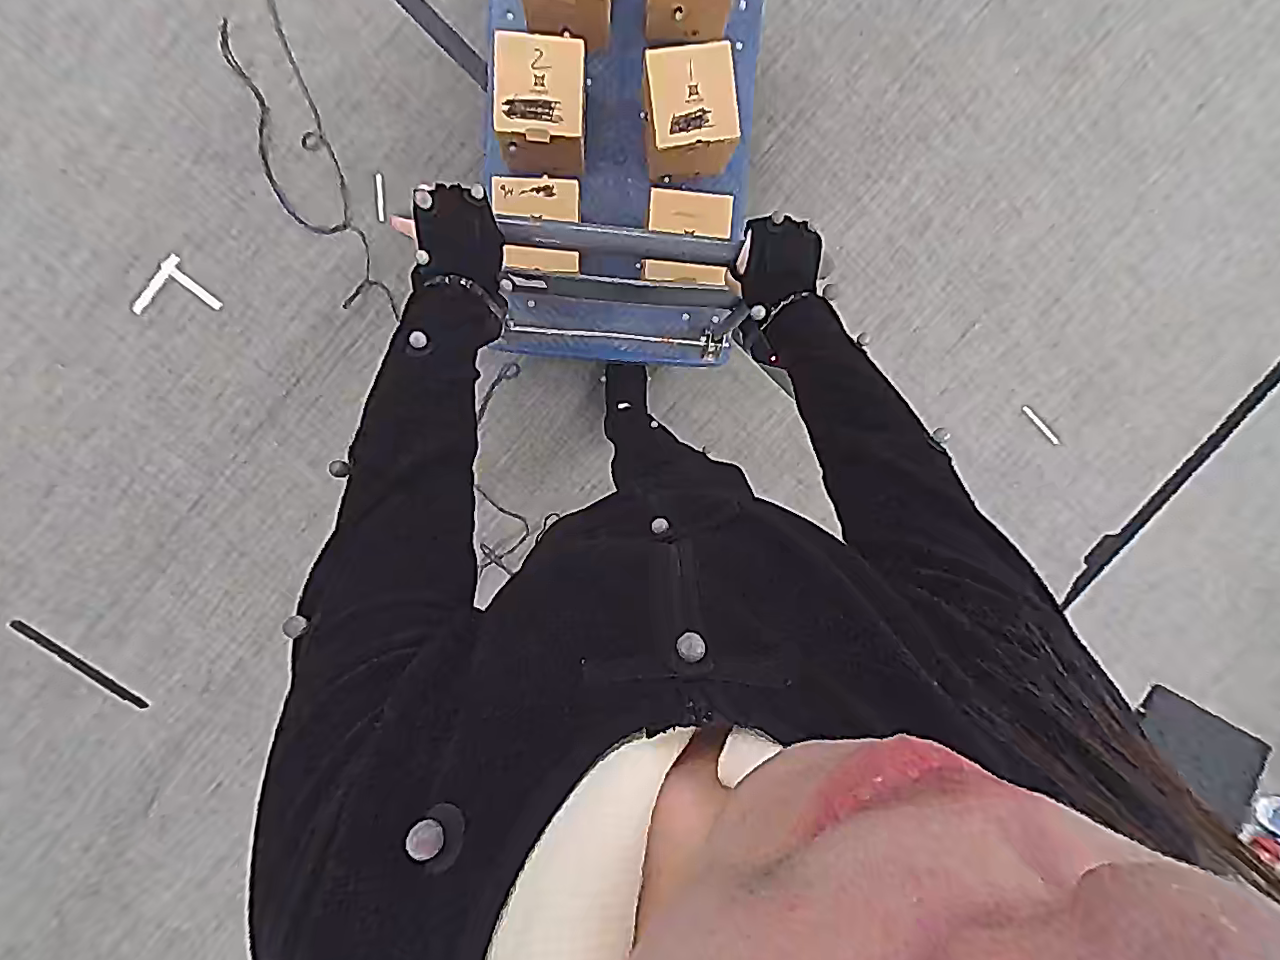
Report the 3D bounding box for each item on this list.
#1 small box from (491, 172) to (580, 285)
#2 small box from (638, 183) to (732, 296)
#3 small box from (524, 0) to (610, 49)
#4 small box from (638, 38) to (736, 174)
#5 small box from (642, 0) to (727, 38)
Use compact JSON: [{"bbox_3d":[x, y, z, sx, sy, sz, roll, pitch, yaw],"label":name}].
[{"bbox_3d":[-0.209,-0.509,1.120,0.168,0.176,0.179,0,99,-5],"label":"small box"},{"bbox_3d":[0.088,-0.498,1.147,0.168,0.176,0.179,4,97,-6],"label":"small box"},{"bbox_3d":[-0.140,-0.999,1.054,0.168,0.176,0.179,5,99,-5],"label":"small box"},{"bbox_3d":[0.092,-0.753,1.109,0.168,0.176,0.179,-9,98,-3],"label":"small box"},{"bbox_3d":[0.093,-1.022,1.070,0.168,0.176,0.179,0,98,-4],"label":"small box"}]
